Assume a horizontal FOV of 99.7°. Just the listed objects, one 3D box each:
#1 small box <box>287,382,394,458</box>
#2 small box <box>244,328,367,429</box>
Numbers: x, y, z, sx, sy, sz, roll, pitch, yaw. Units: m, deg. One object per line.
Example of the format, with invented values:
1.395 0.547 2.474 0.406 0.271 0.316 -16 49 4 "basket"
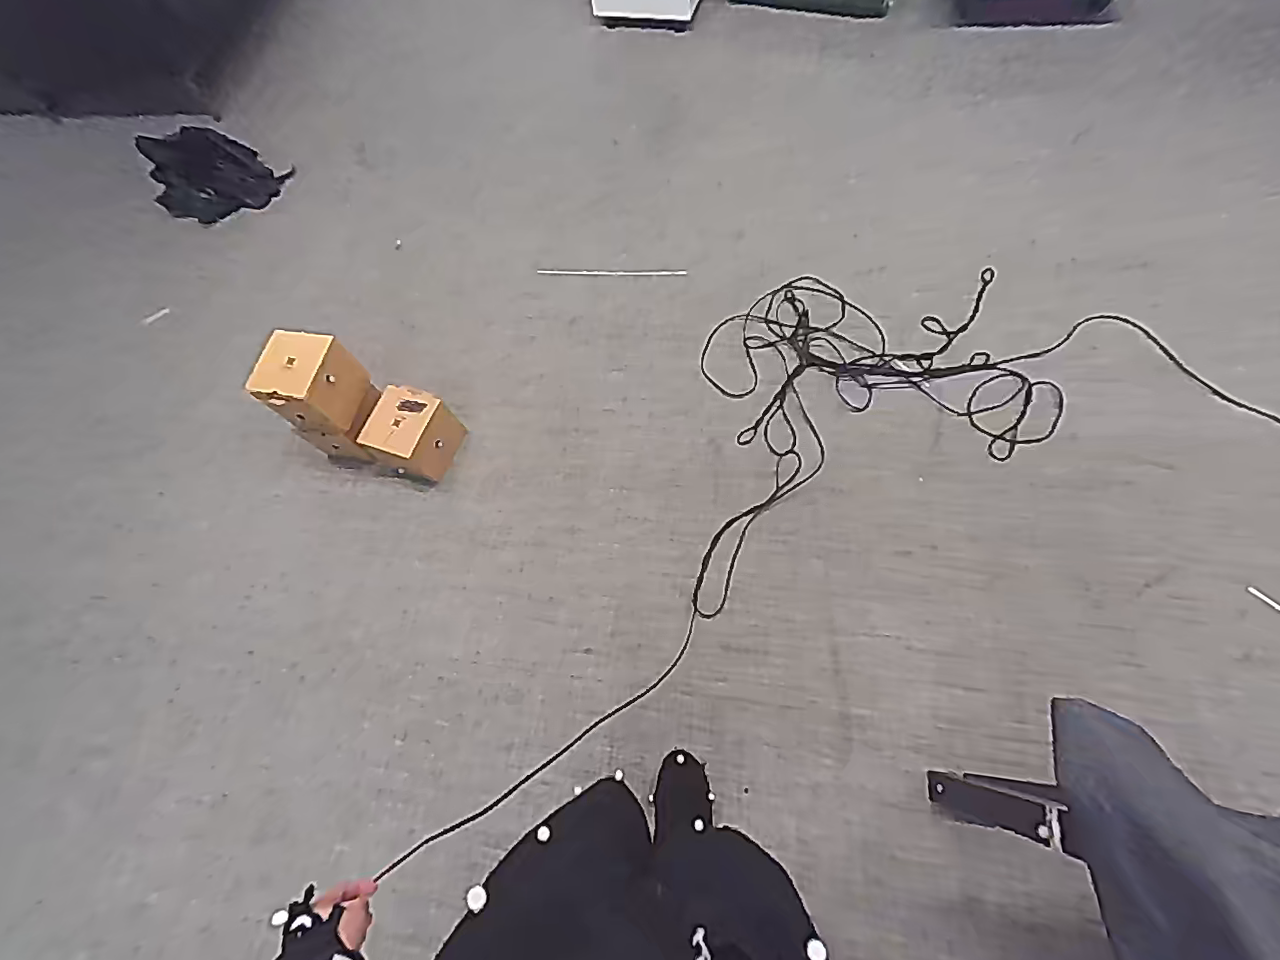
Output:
-0.813 -0.176 1.490 0.168 0.176 0.179 8 70 10 "small box"
-0.816 -0.249 1.343 0.168 0.176 0.179 8 69 9 "small box"
